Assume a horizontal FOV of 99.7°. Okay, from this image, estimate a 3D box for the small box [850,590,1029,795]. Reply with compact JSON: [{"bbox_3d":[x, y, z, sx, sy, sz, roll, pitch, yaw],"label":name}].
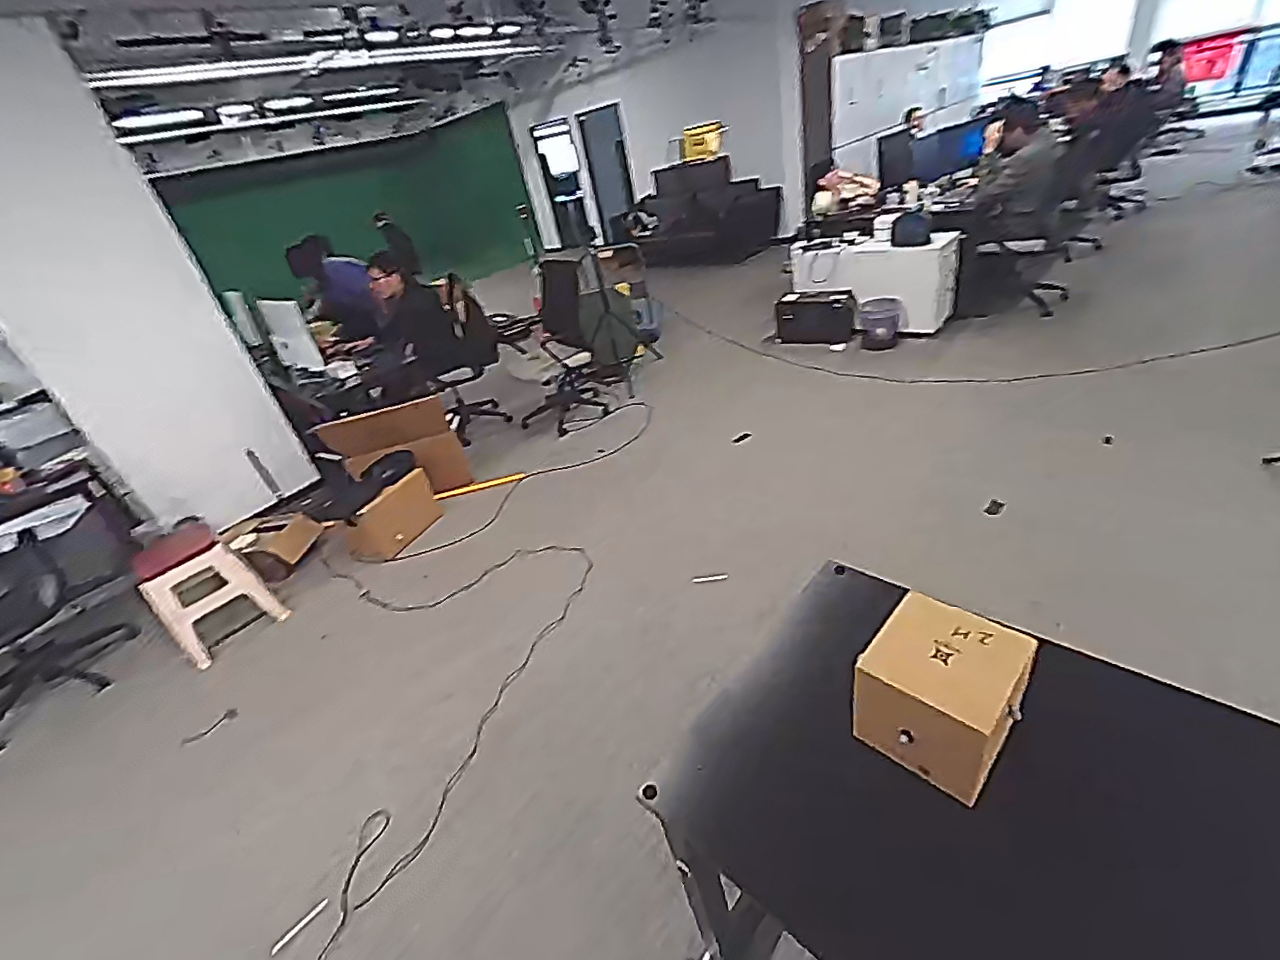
[{"bbox_3d":[0.419,0.296,0.767,0.179,0.176,0.168,-35,38,-31],"label":"small box"}]
